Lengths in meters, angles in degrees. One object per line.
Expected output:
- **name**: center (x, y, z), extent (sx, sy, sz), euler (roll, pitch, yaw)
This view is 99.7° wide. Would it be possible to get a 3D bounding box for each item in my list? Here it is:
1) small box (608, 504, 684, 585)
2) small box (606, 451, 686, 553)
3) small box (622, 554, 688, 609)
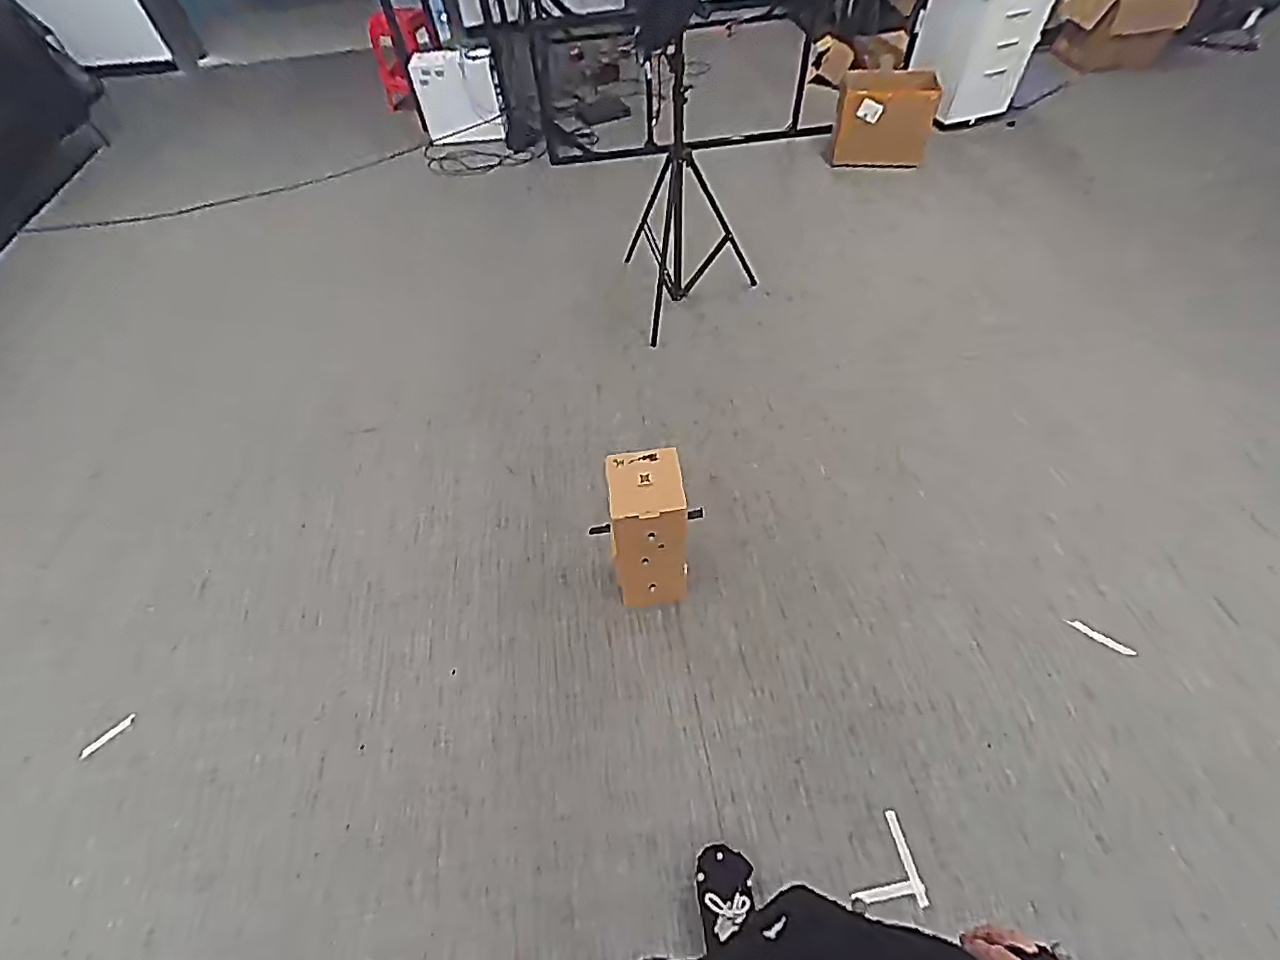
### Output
- **small box**: center (0.018, 0.157, 1.382), extent (0.179, 0.176, 0.168), euler (-6, 55, 0)
- **small box**: center (0.017, 0.059, 1.251), extent (0.168, 0.176, 0.179), euler (-7, 55, -1)
- **small box**: center (0.034, 0.248, 1.518), extent (0.179, 0.176, 0.168), euler (-8, 55, -2)
